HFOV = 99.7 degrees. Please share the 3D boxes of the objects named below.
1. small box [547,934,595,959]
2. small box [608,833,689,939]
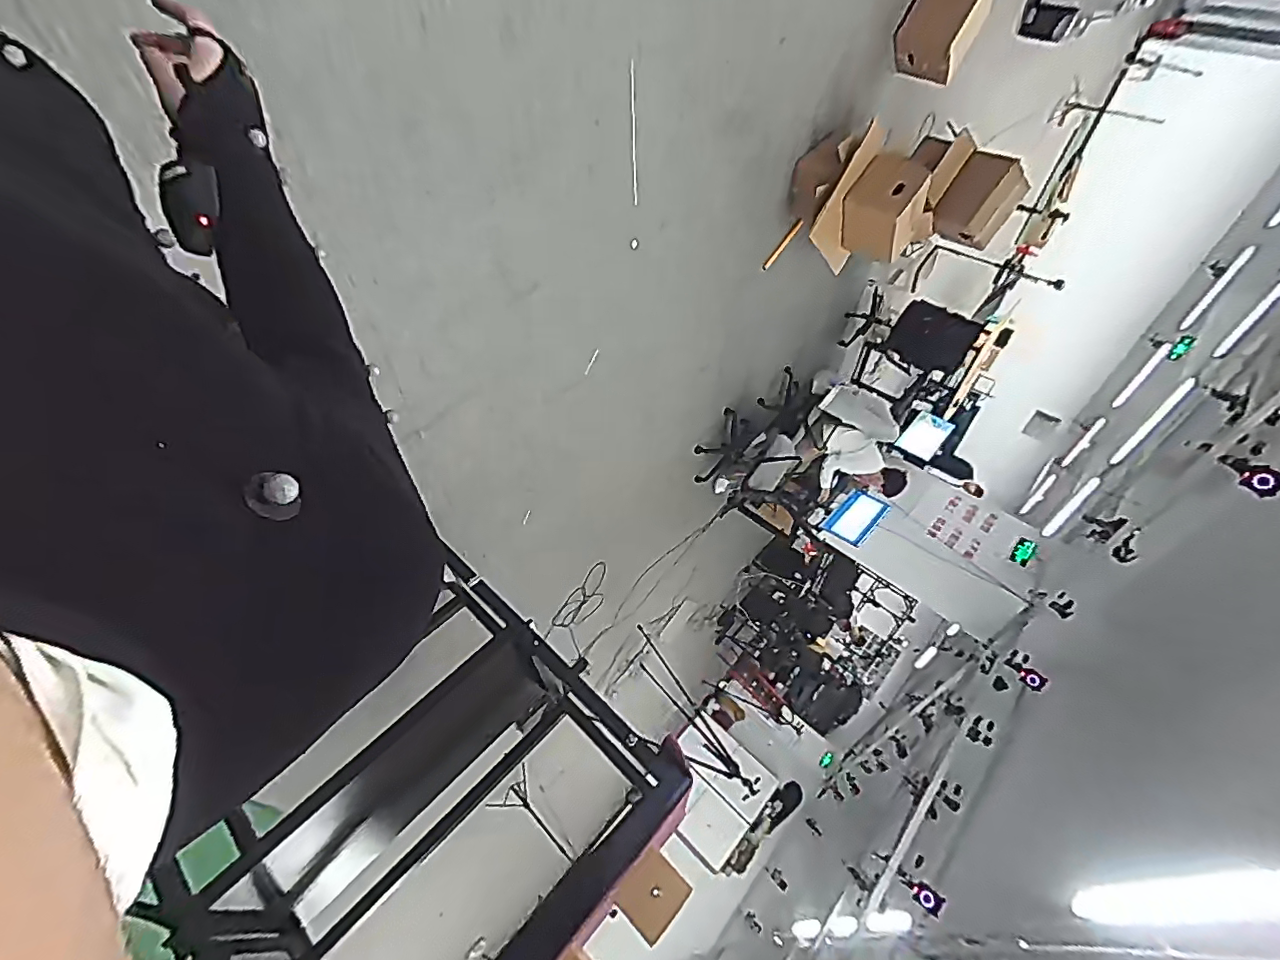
[{"bbox_3d":[-0.194,1.353,1.435,0.179,0.176,0.168,-40,151,-26],"label":"small box"},{"bbox_3d":[0.020,1.172,1.567,0.179,0.176,0.168,-42,152,-25],"label":"small box"}]
